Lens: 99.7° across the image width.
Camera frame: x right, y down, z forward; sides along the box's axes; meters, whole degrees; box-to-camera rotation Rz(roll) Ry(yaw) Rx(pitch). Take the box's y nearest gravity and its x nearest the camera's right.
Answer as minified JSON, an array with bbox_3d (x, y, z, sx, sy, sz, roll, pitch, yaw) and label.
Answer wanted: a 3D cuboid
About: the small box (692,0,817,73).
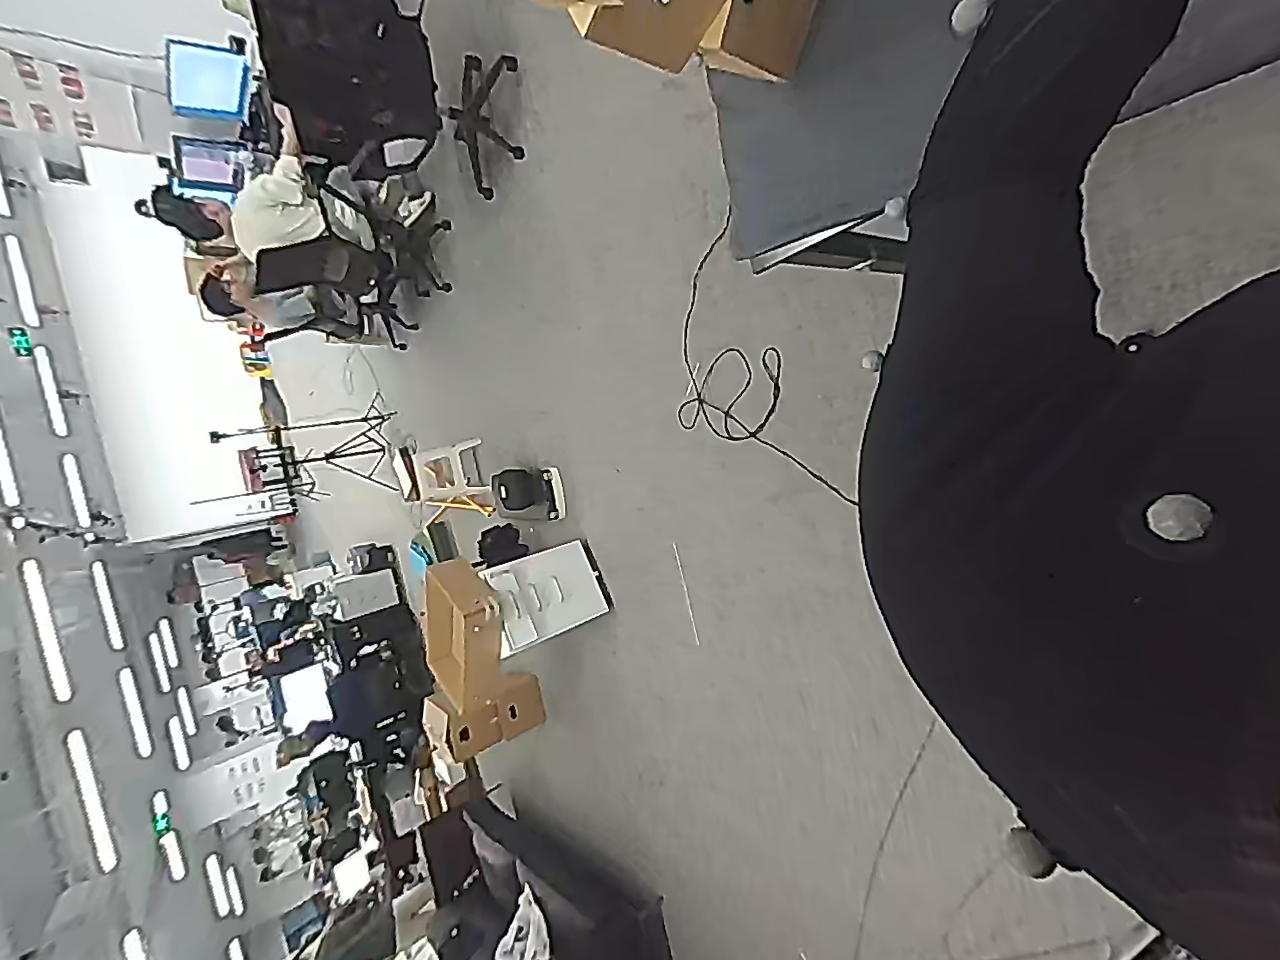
[{"bbox_3d":[0.132,-0.693,0.751,0.179,0.176,0.168,42,131,33],"label":"small box"}]

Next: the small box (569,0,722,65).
[{"bbox_3d":[0.009,-0.656,0.648,0.179,0.176,0.168,-37,74,50],"label":"small box"}]
